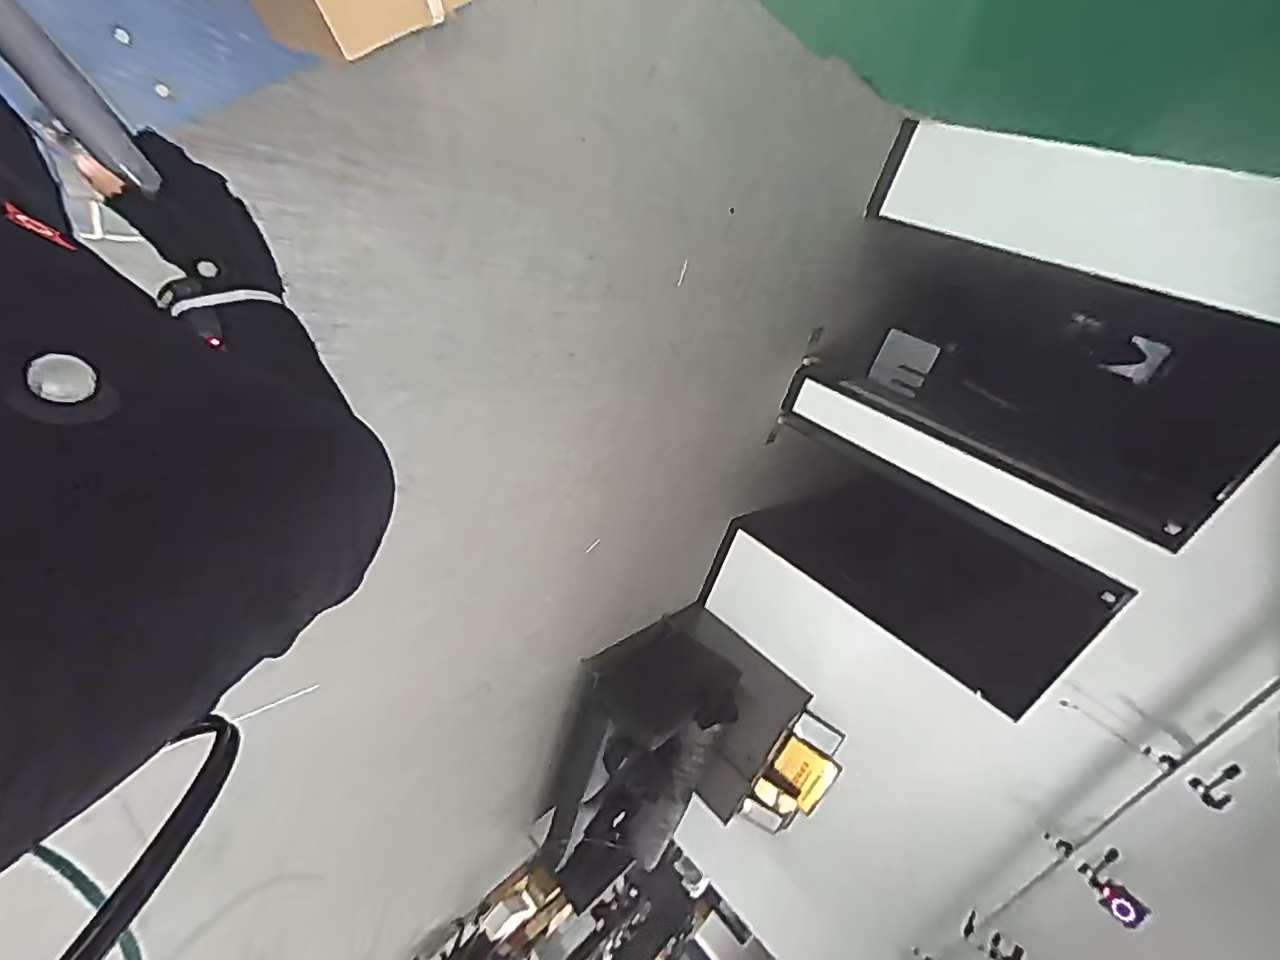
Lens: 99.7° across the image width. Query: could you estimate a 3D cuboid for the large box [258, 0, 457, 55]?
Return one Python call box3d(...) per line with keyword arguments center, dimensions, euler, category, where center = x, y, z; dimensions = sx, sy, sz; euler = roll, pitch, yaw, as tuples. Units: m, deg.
box3d(center=(-0.451, -0.887, 0.734), dimensions=(0.320, 0.320, 0.408), euler=(-44, 146, -17), category="large box")
